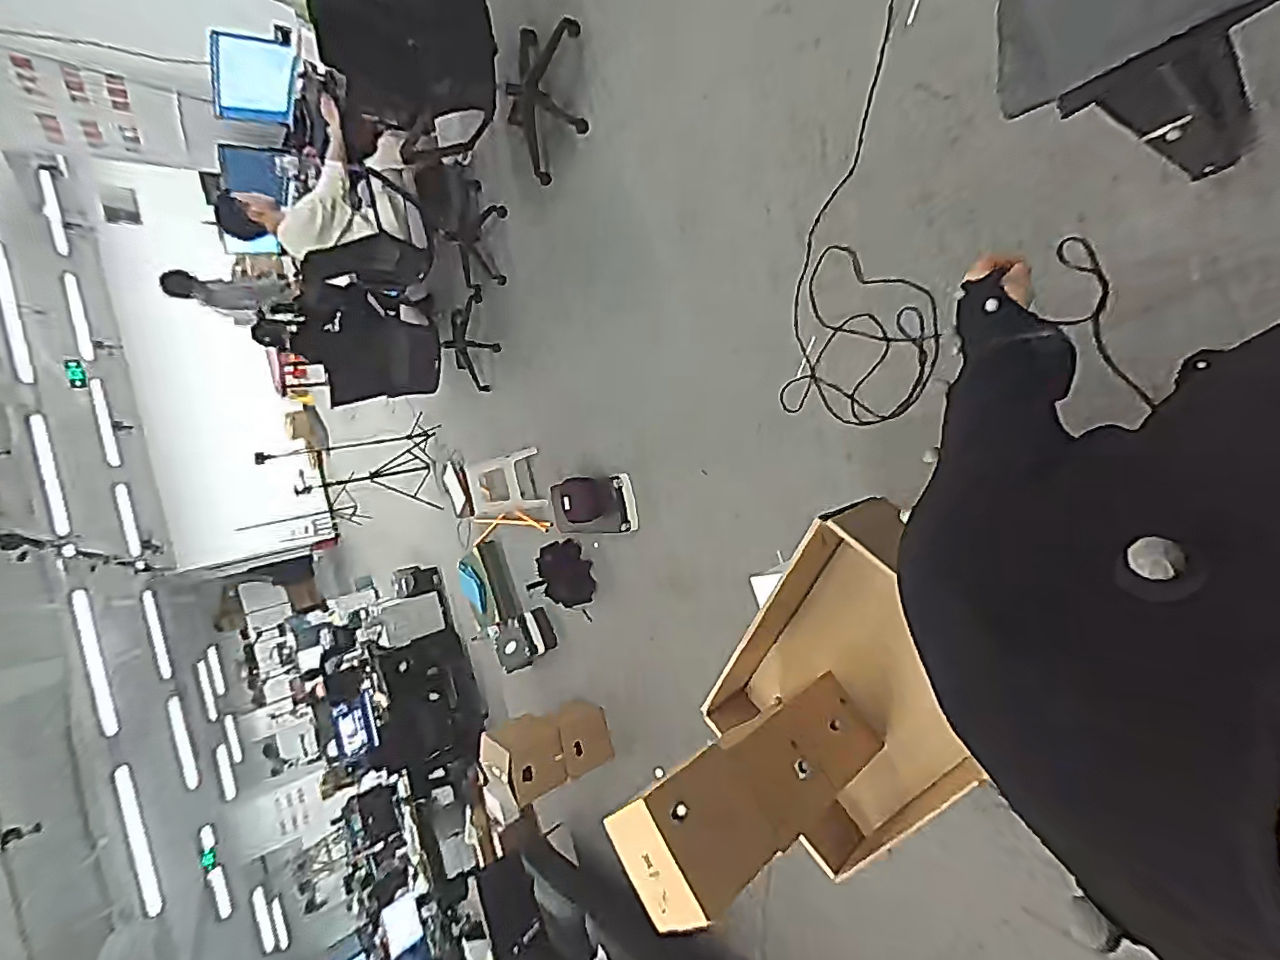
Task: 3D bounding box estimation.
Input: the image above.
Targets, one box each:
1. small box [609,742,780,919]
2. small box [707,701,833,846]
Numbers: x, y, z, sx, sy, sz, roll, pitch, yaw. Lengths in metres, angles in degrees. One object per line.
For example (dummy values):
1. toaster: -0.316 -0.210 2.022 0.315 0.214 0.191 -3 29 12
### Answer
1. small box: 0.084 0.550 0.867 0.179 0.176 0.168 54 138 22
2. small box: 0.208 0.532 0.975 0.168 0.176 0.179 57 137 20
